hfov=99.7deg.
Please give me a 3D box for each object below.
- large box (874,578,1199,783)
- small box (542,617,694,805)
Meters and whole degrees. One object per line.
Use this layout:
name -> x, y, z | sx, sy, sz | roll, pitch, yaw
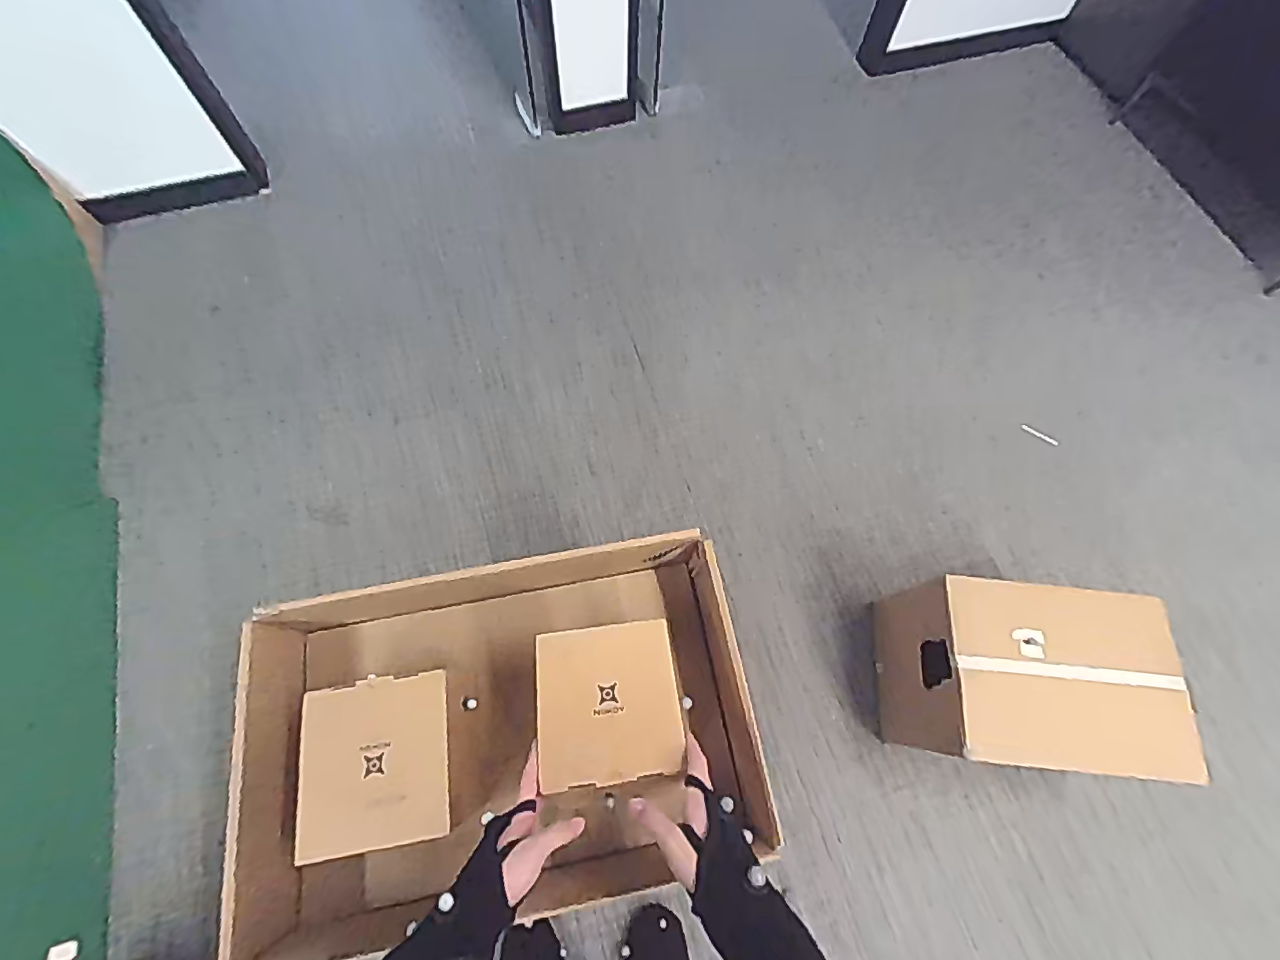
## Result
large box -> 0.737, 0.394, 1.082 | 0.408, 0.320, 0.320 | 6, 67, 1
small box -> -0.033, 0.295, 0.687 | 0.168, 0.176, 0.179 | -5, 54, -5
